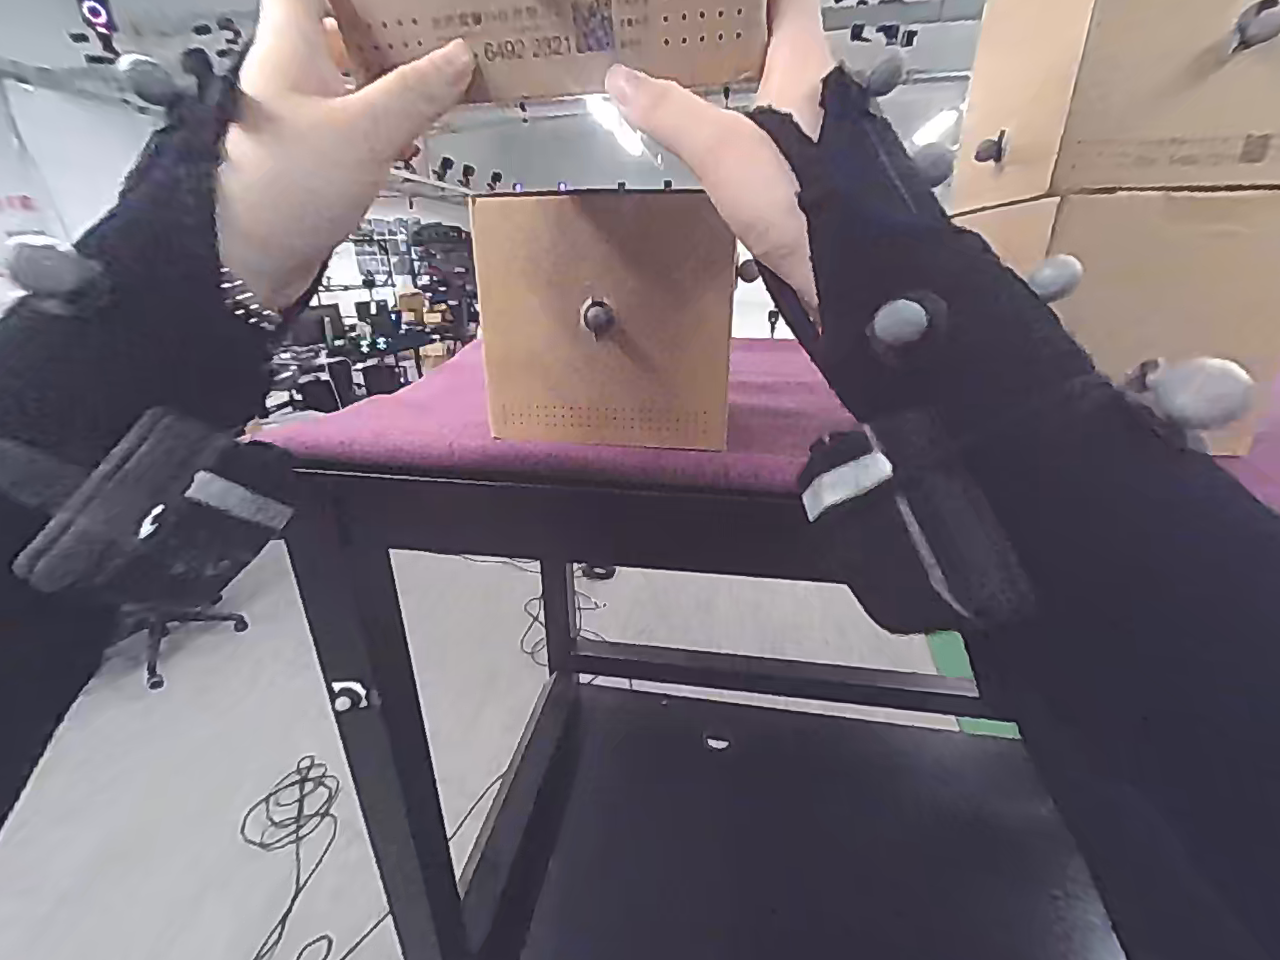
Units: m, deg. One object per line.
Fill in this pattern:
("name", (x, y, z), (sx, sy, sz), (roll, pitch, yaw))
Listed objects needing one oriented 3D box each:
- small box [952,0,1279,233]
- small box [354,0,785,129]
("small box", (0.347, -0.271, 0.376), (0.168, 0.176, 0.179), (3, 21, 7))
("small box", (-0.021, -0.253, 0.222), (0.168, 0.176, 0.179), (3, 40, 10))
